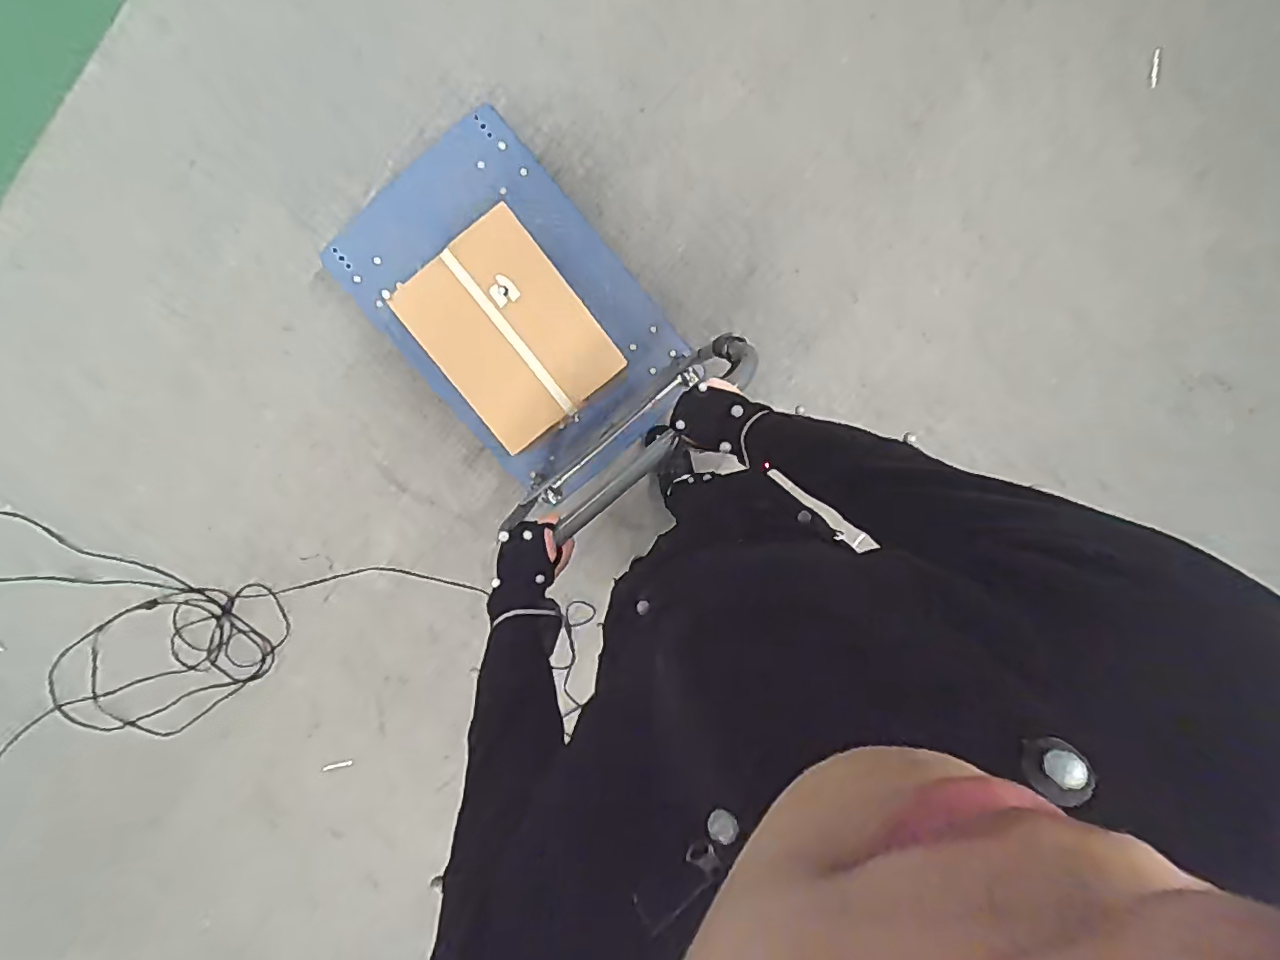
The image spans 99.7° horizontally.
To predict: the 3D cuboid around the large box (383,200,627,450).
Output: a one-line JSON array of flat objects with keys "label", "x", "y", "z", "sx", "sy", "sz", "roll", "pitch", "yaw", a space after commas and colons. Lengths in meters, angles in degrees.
[{"label": "large box", "x": -0.272, "y": -0.322, "z": 1.230, "sx": 0.320, "sy": 0.320, "sz": 0.408, "roll": -38, "pitch": 96, "yaw": 3}]
